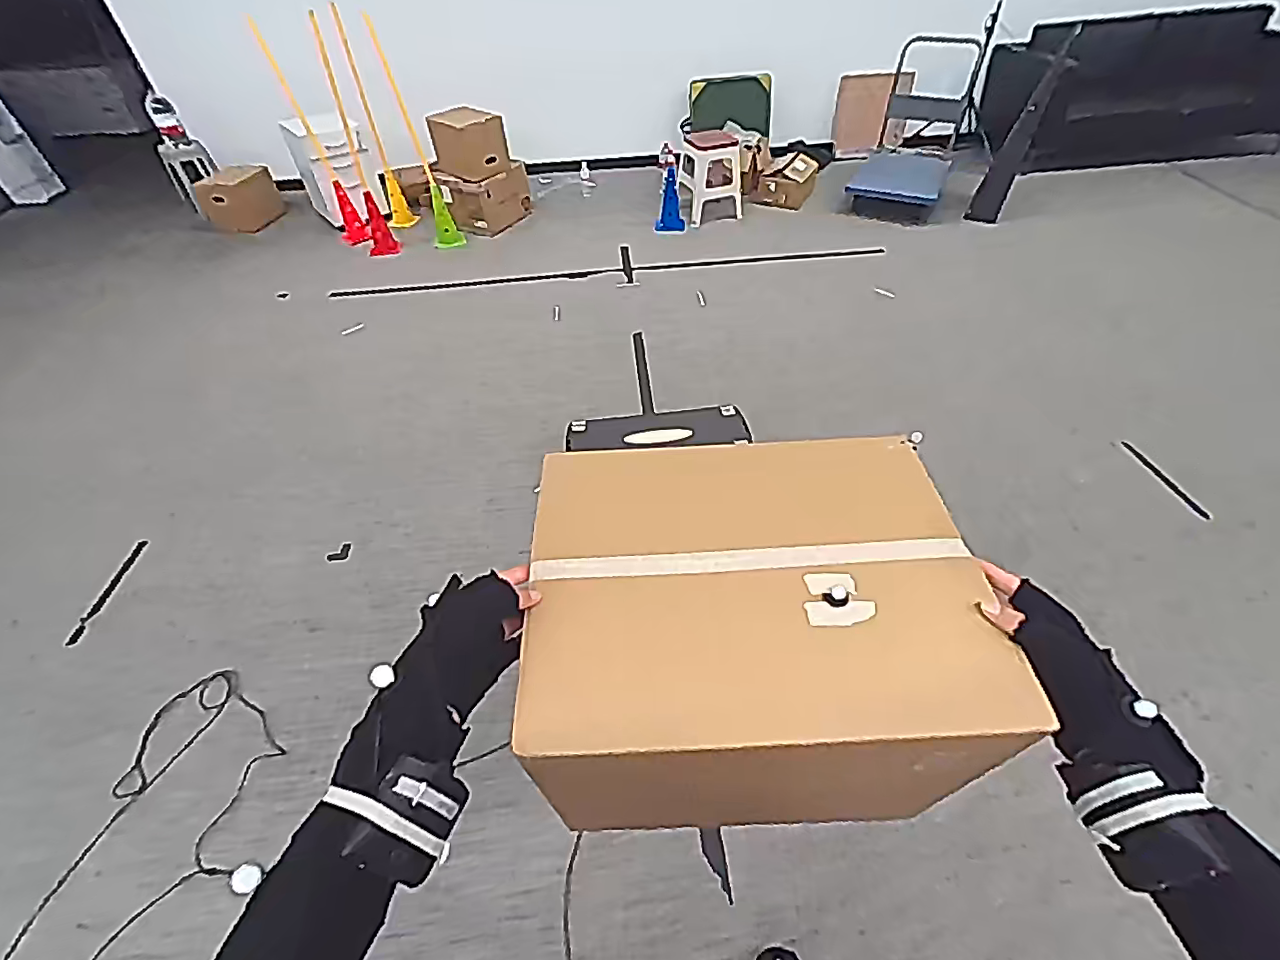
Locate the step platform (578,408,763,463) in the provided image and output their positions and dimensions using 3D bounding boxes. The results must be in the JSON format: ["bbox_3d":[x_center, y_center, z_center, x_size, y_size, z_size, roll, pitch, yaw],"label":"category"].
[{"bbox_3d":[0.108,-0.089,2.024,0.684,0.204,0.286,-6,46,-5],"label":"step platform"}]

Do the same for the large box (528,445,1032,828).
[{"bbox_3d":[0.106,0.183,0.626,0.408,0.320,0.320,-3,48,0],"label":"large box"}]
